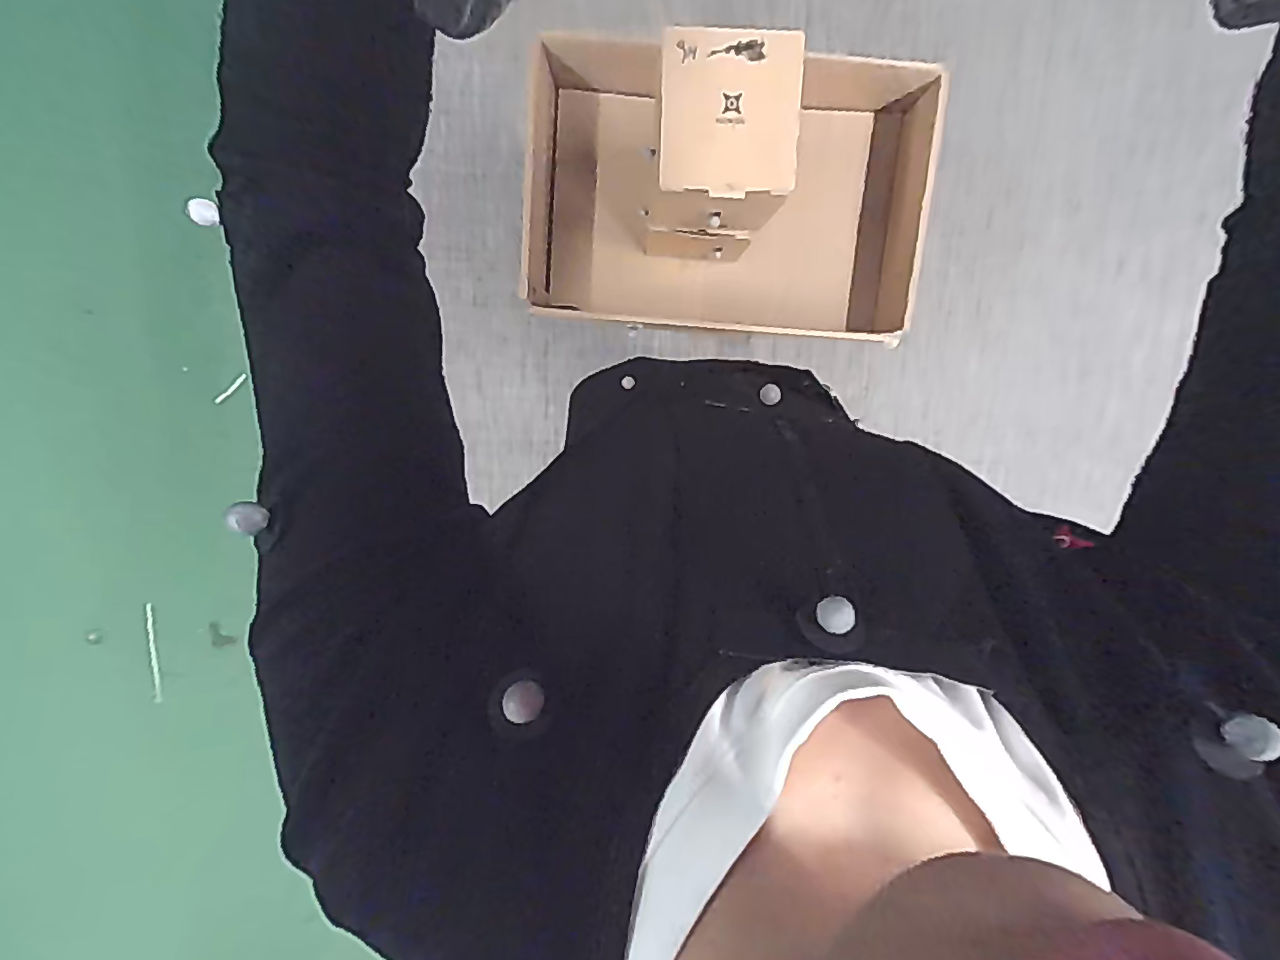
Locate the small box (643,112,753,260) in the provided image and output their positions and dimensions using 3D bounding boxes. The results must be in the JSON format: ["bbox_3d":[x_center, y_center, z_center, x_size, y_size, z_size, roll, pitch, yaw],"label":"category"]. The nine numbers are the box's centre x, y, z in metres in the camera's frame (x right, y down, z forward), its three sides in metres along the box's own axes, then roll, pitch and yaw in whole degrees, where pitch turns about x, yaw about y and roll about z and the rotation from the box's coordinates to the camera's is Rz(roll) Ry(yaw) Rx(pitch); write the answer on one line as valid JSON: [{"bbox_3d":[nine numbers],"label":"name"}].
[{"bbox_3d":[0.093,-0.467,0.874,0.168,0.176,0.179,4,99,-3],"label":"small box"}]

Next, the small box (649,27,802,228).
[{"bbox_3d":[0.100,-0.444,0.711,0.168,0.176,0.179,1,101,-2],"label":"small box"}]
